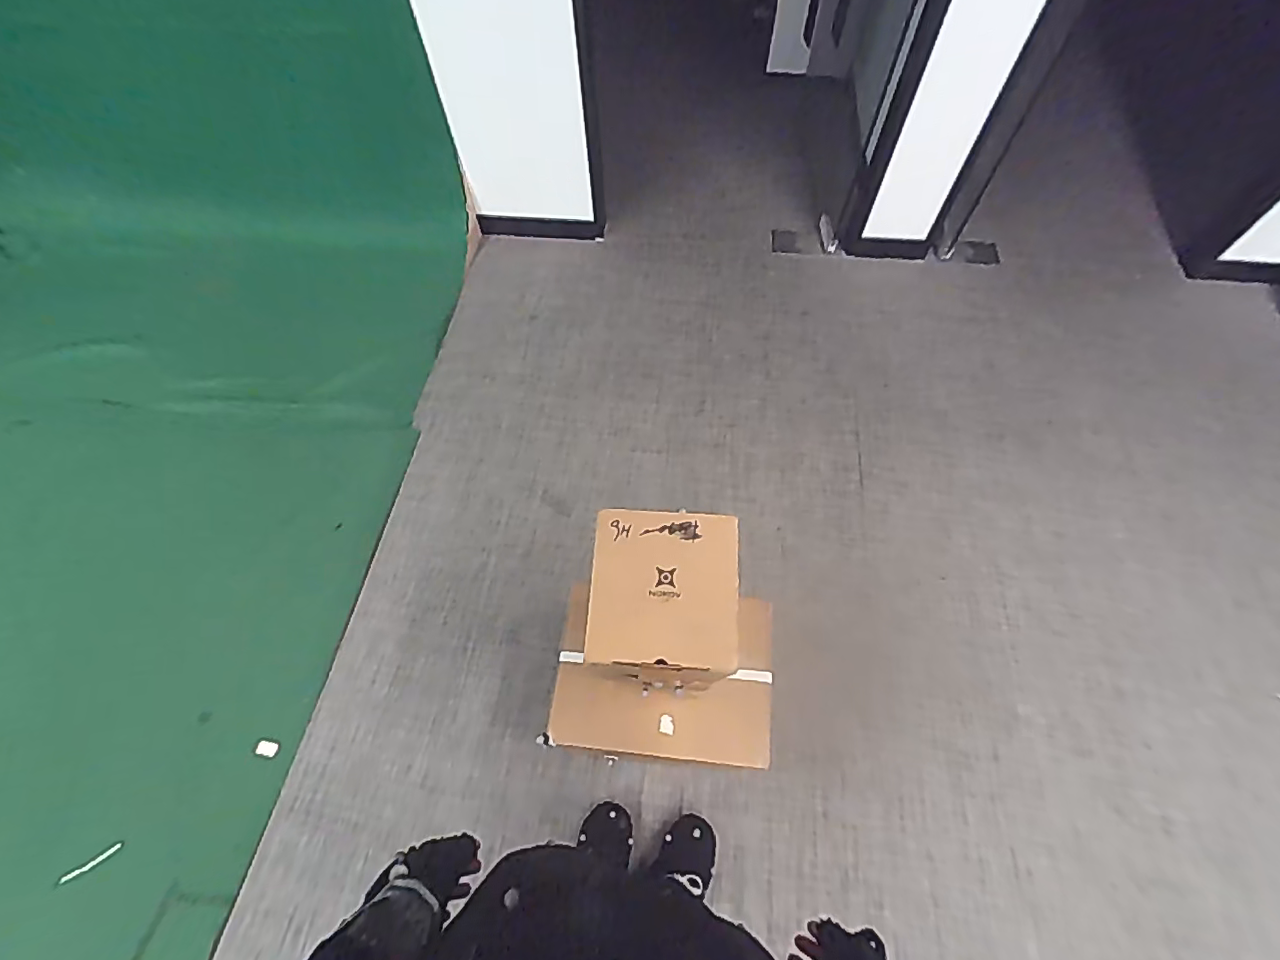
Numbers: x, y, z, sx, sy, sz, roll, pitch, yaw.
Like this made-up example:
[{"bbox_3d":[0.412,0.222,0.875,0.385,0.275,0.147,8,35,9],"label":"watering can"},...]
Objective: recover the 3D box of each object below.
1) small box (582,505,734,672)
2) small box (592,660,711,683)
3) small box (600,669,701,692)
[{"bbox_3d":[0.025,0.144,0.682,0.168,0.176,0.179,3,68,2],"label":"small box"},{"bbox_3d":[0.025,0.212,0.832,0.168,0.176,0.179,5,66,2],"label":"small box"},{"bbox_3d":[0.029,0.279,0.976,0.179,0.176,0.168,11,66,6],"label":"small box"}]
